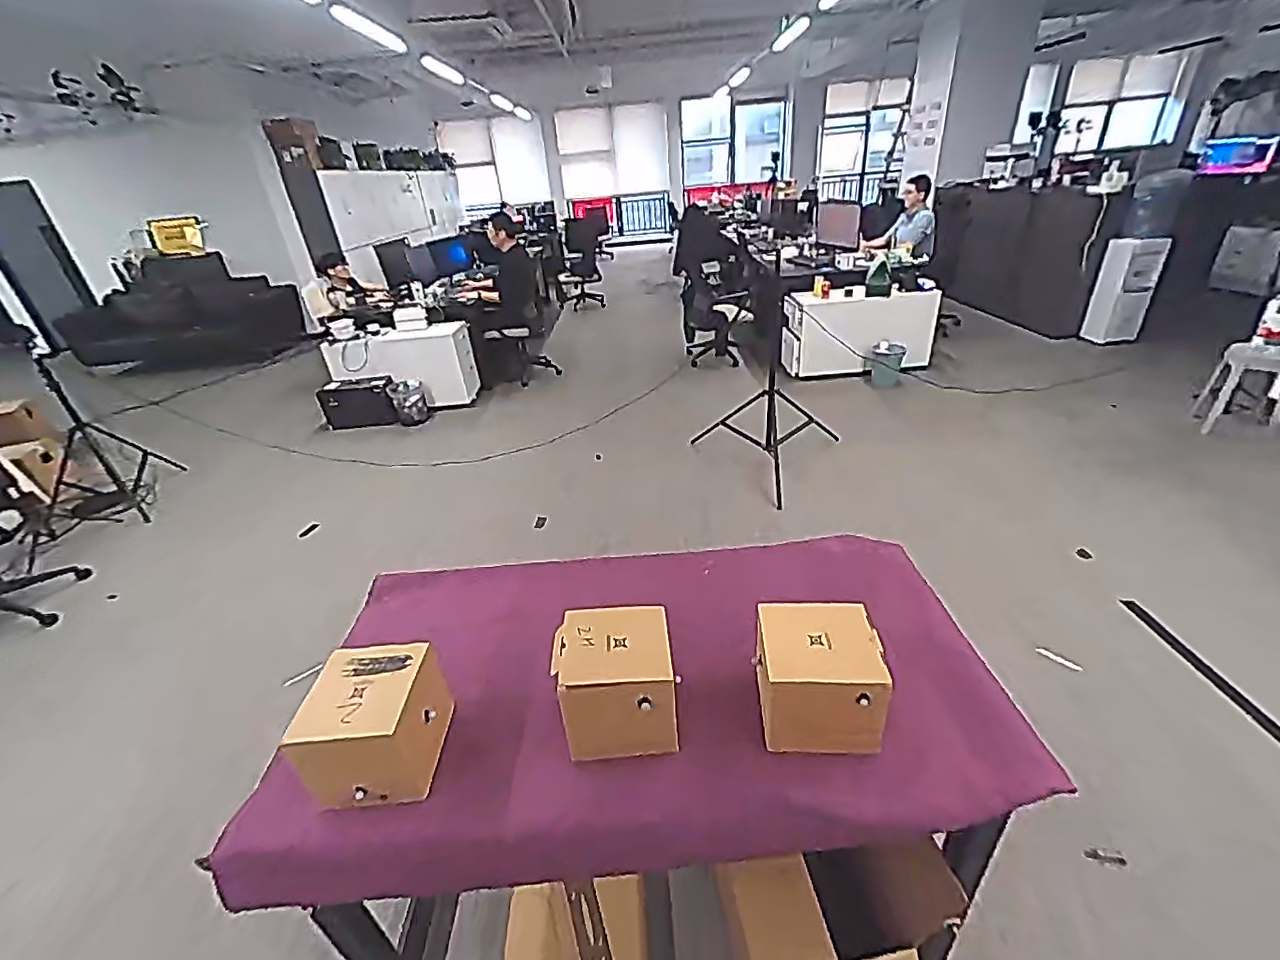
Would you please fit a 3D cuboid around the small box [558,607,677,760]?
[{"bbox_3d":[-0.032,0.335,0.900,0.179,0.176,0.168,-6,27,0],"label":"small box"}]

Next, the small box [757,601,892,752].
[{"bbox_3d":[0.286,0.317,0.879,0.179,0.176,0.168,-2,30,6],"label":"small box"}]
